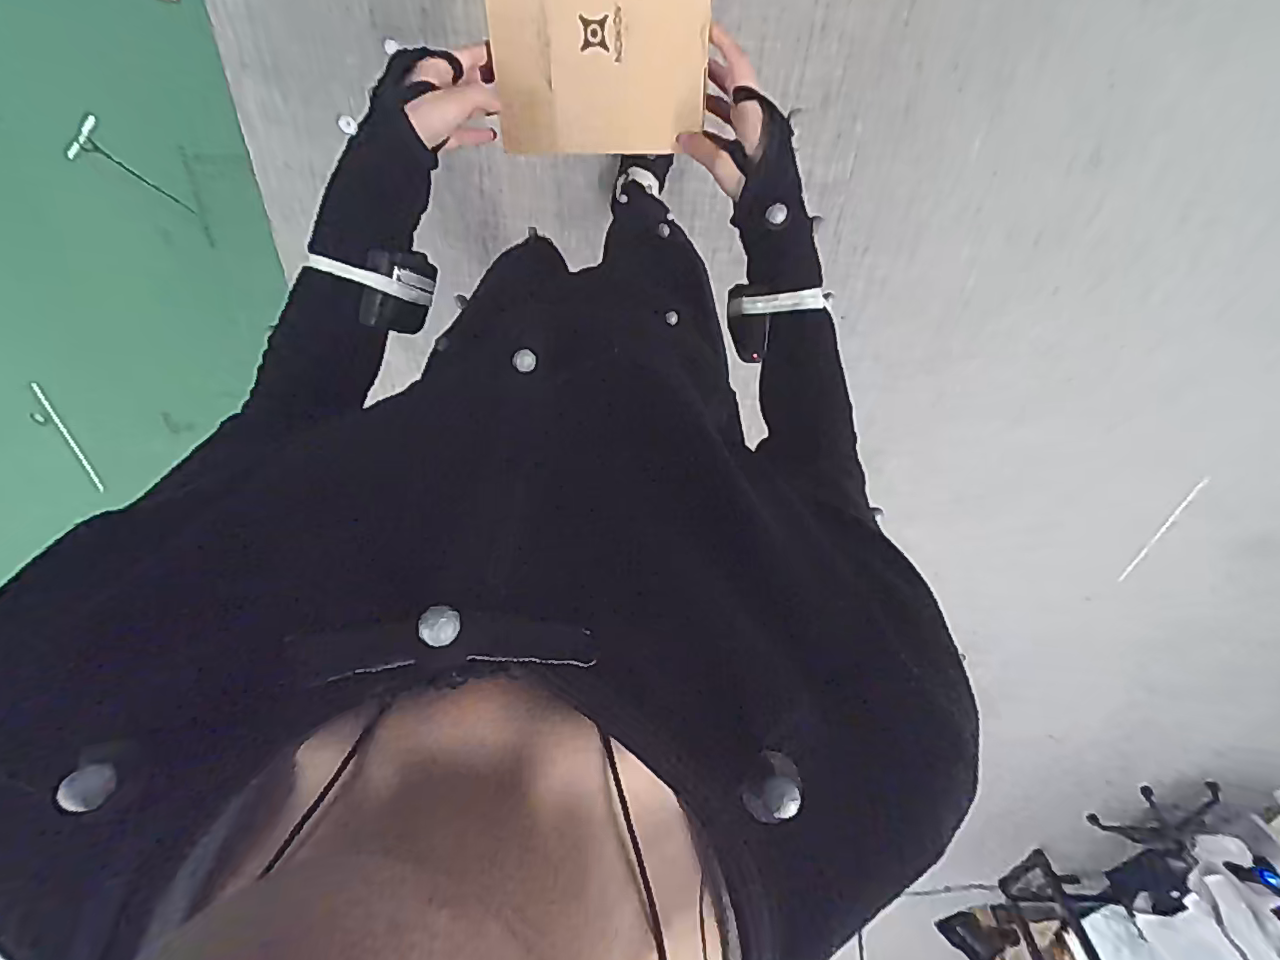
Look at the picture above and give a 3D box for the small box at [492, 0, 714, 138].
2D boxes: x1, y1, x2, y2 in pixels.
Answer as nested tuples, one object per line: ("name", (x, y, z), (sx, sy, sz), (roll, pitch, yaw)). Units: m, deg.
("small box", (-0.029, -0.418, 0.488), (0.179, 0.176, 0.168), (0, 129, 0))
